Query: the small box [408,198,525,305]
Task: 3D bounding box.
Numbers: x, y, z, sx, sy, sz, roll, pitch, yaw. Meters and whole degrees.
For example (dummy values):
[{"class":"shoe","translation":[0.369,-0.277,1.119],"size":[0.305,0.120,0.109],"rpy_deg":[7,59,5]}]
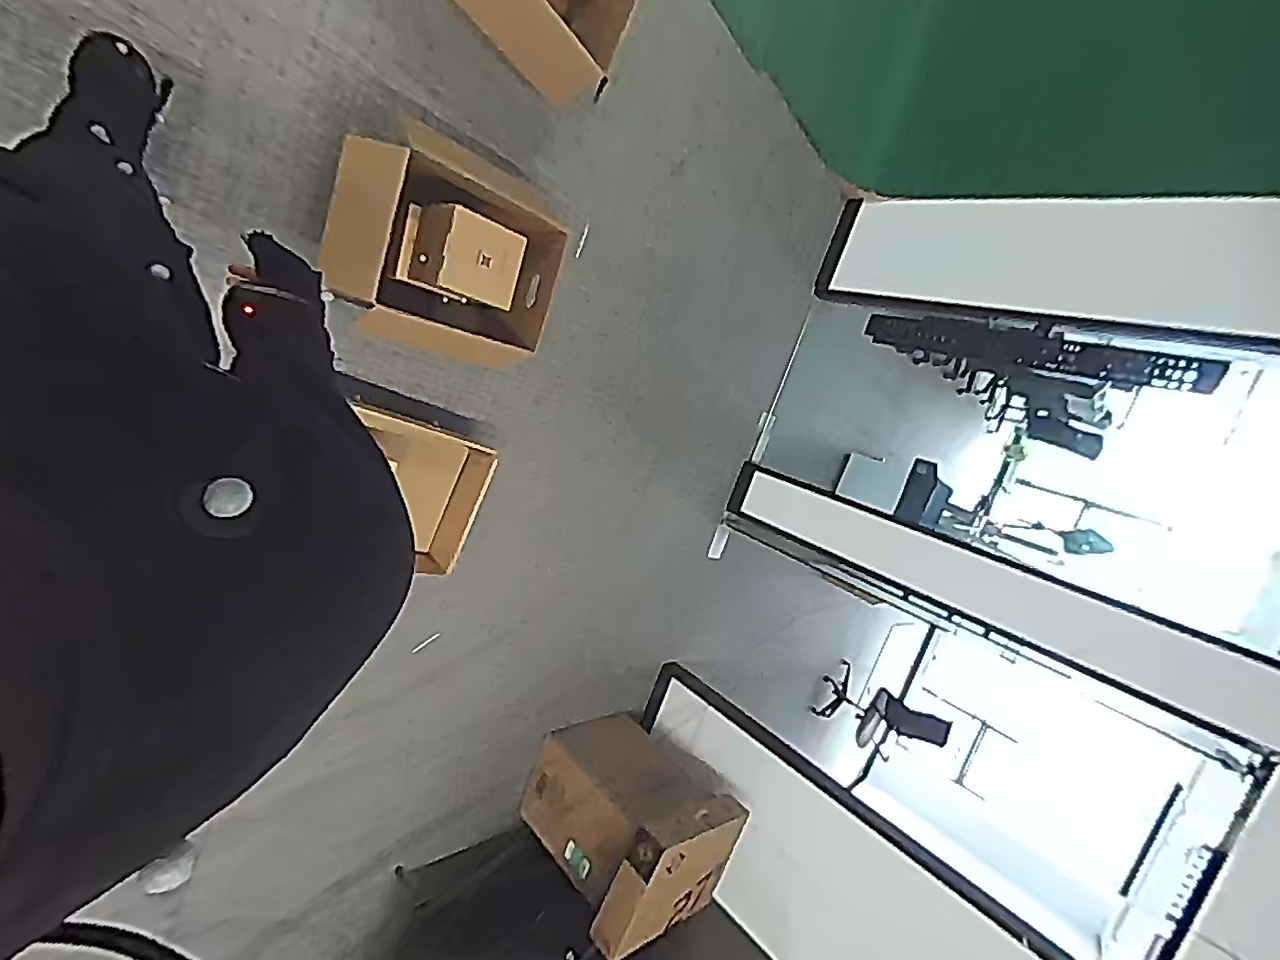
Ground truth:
[{"class":"small box","translation":[-0.392,-0.507,1.207],"size":[0.179,0.176,0.168],"rpy_deg":[7,105,-47]}]
